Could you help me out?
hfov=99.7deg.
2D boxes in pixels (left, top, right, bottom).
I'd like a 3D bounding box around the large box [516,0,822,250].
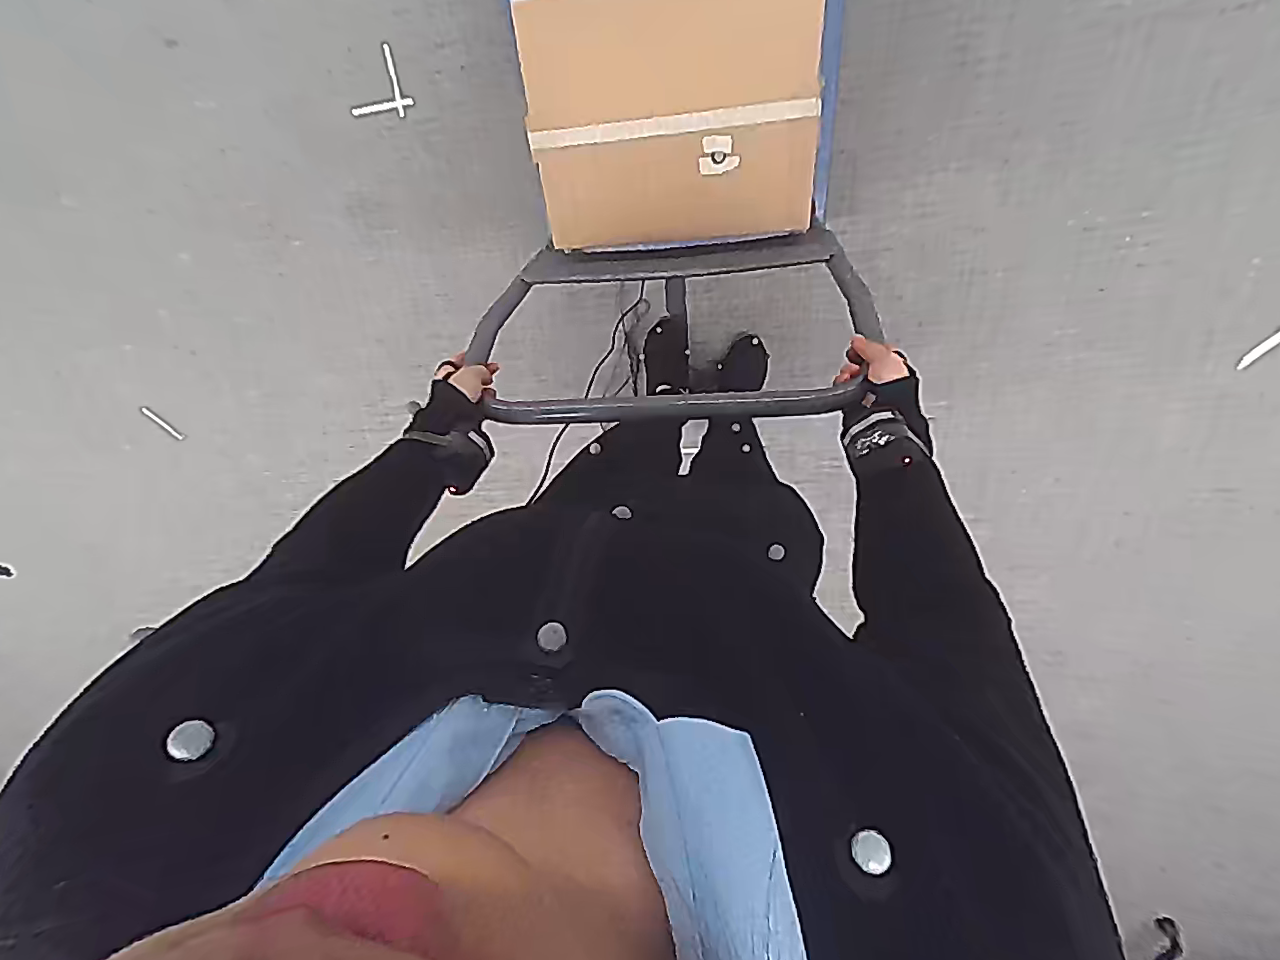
[{"bbox_3d":[0.058,-0.597,0.893,0.408,0.320,0.320,-2,126,8],"label":"large box"}]
